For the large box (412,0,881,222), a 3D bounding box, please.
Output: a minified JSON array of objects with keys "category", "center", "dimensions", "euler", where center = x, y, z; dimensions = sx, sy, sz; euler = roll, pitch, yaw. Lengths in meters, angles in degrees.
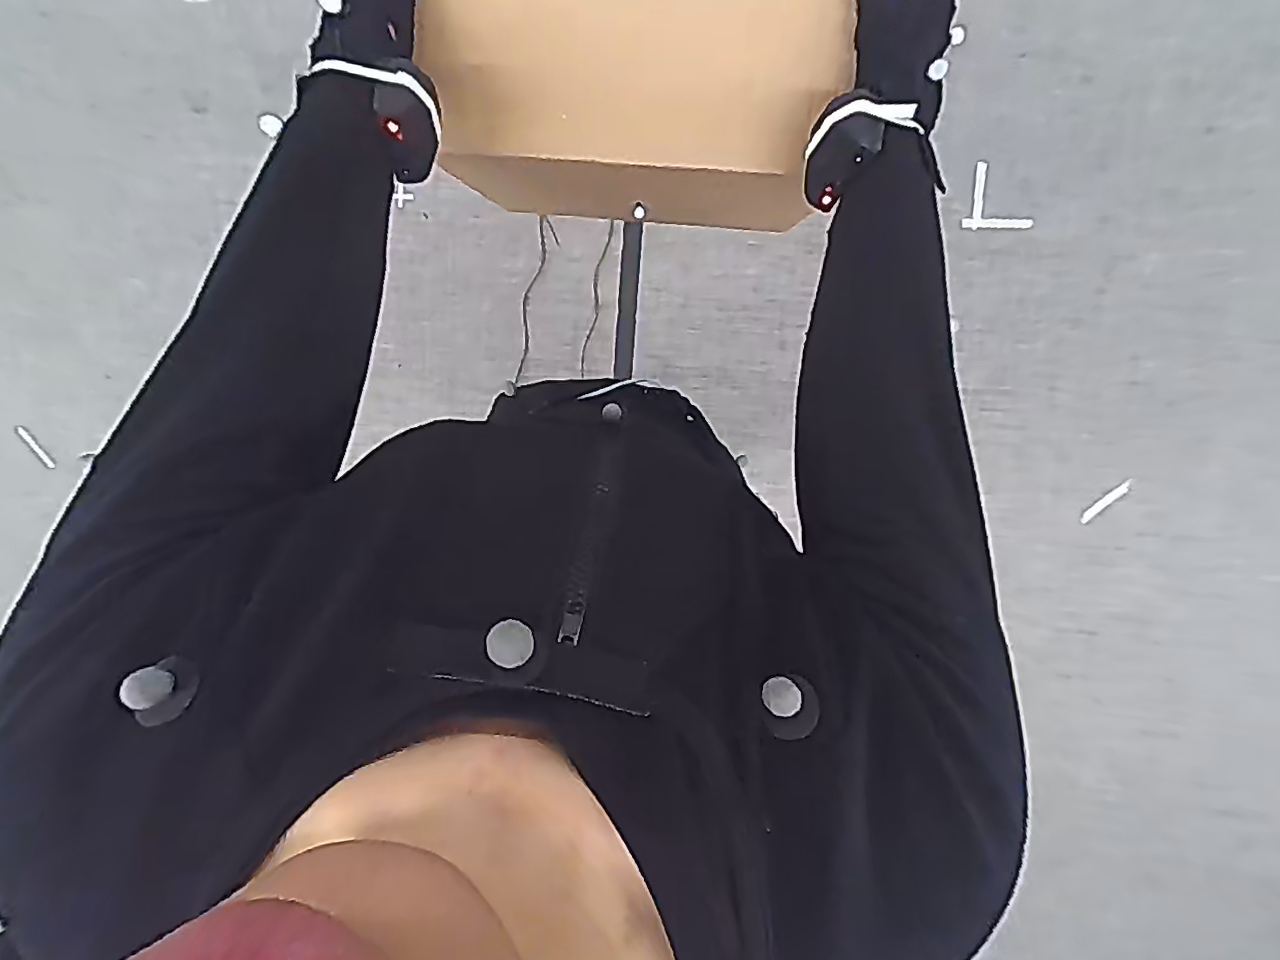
[{"category":"large box","center":[0.015,-0.477,0.588],"dimensions":[0.408,0.320,0.320],"euler":[5,106,2]}]
